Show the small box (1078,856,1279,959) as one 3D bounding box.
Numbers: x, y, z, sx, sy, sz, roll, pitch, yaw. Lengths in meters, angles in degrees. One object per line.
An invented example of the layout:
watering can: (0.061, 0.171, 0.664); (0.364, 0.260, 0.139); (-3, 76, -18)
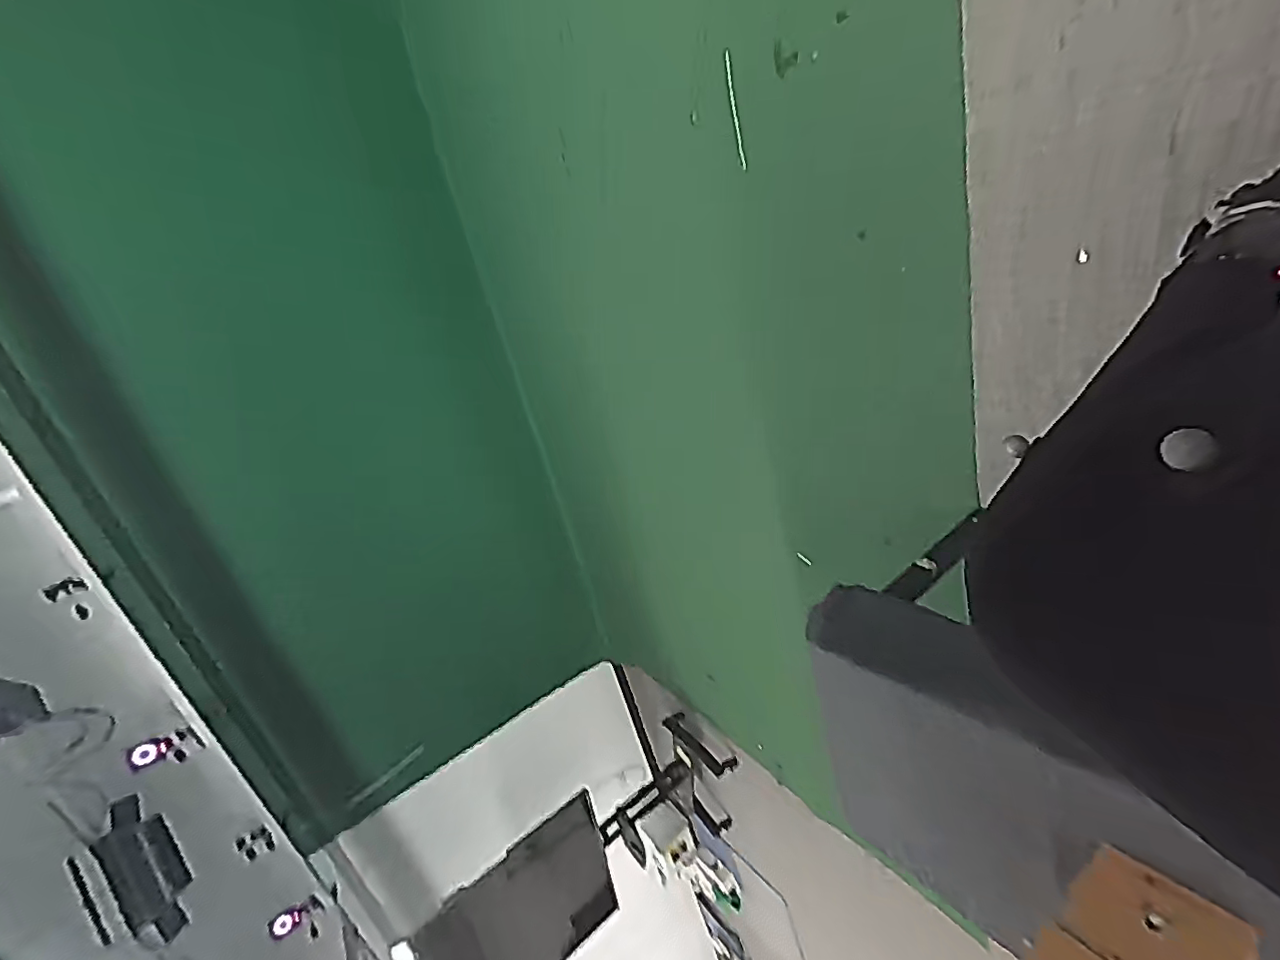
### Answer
small box: (0.728, 0.671, 0.733); (0.168, 0.176, 0.179); (15, 127, 57)
